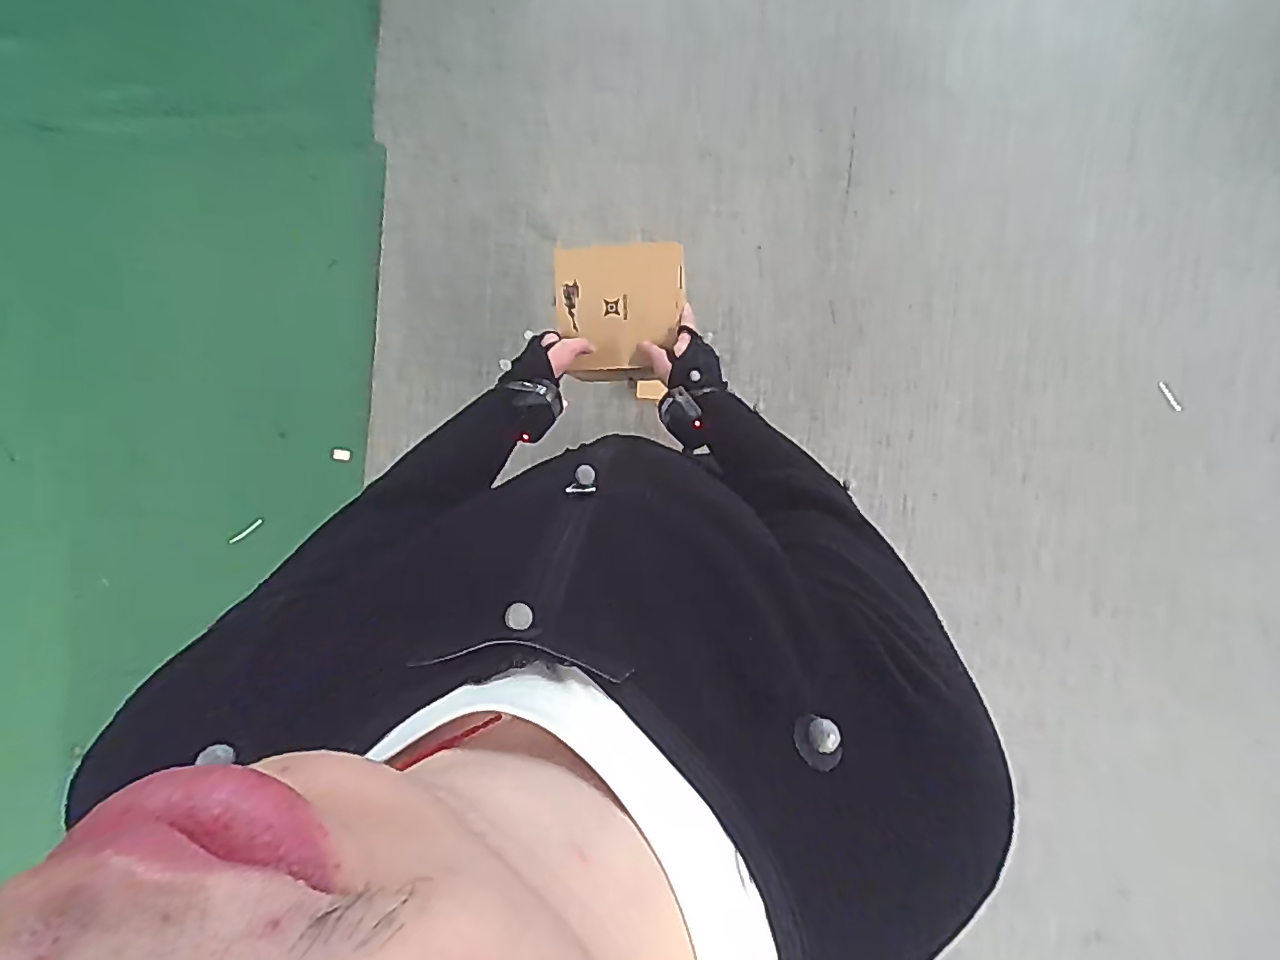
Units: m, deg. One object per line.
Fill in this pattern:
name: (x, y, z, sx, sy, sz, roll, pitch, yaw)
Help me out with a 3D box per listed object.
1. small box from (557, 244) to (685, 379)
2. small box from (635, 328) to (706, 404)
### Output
small box: (-0.020, -0.245, 0.817, 0.179, 0.176, 0.168, 0, 95, 5)
small box: (0.082, -0.309, 1.467, 0.168, 0.176, 0.179, 8, 93, 3)
